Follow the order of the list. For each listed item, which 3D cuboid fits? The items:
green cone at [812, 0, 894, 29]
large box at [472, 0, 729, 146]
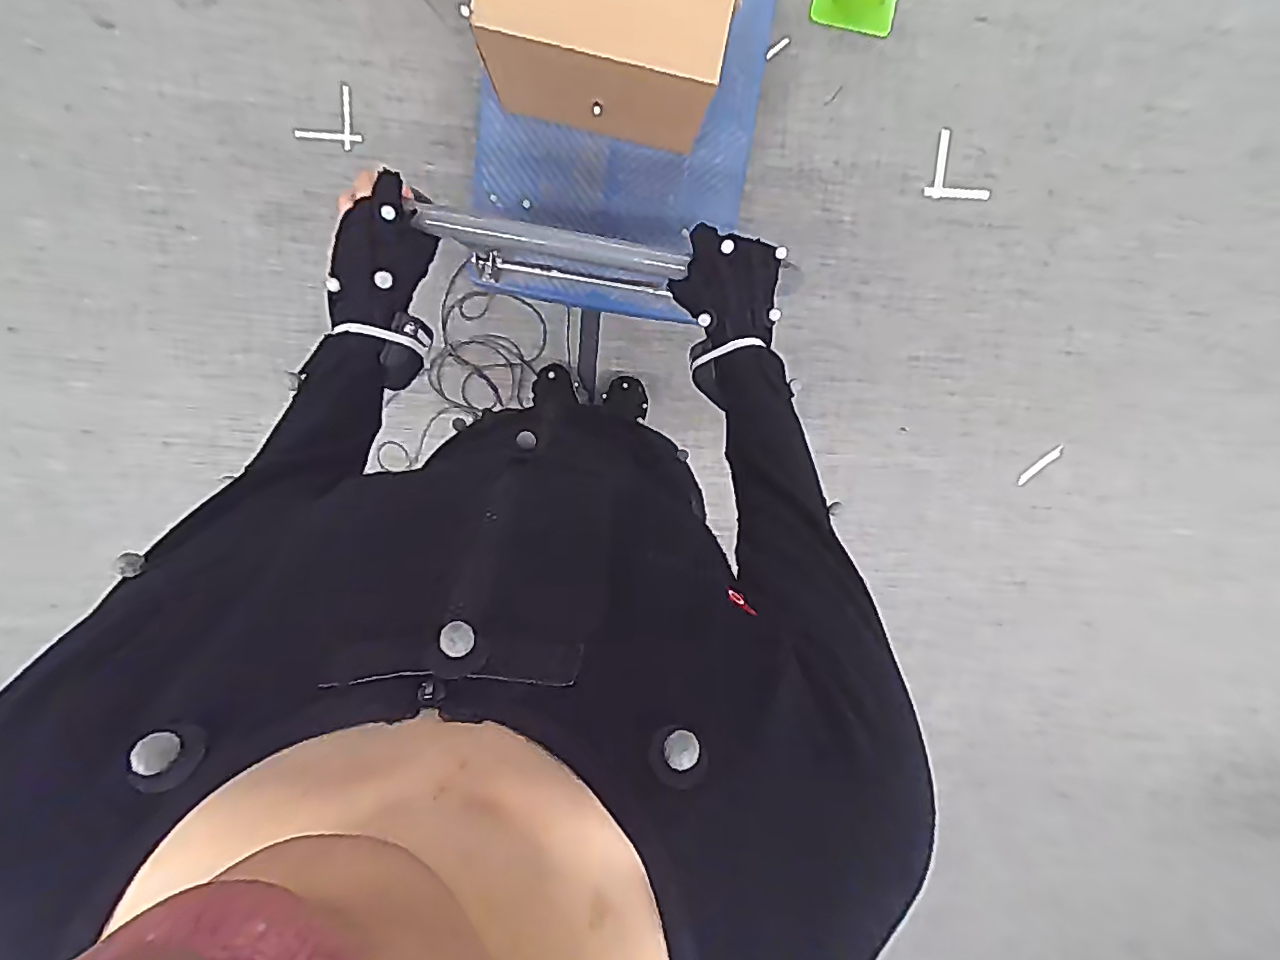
[{"bbox_3d":[0.528,-1.156,1.106,0.202,0.368,0.200,7,102,-6],"label":"green cone"},{"bbox_3d":[-0.051,-0.864,0.987,0.408,0.320,0.320,10,101,-5],"label":"large box"}]
